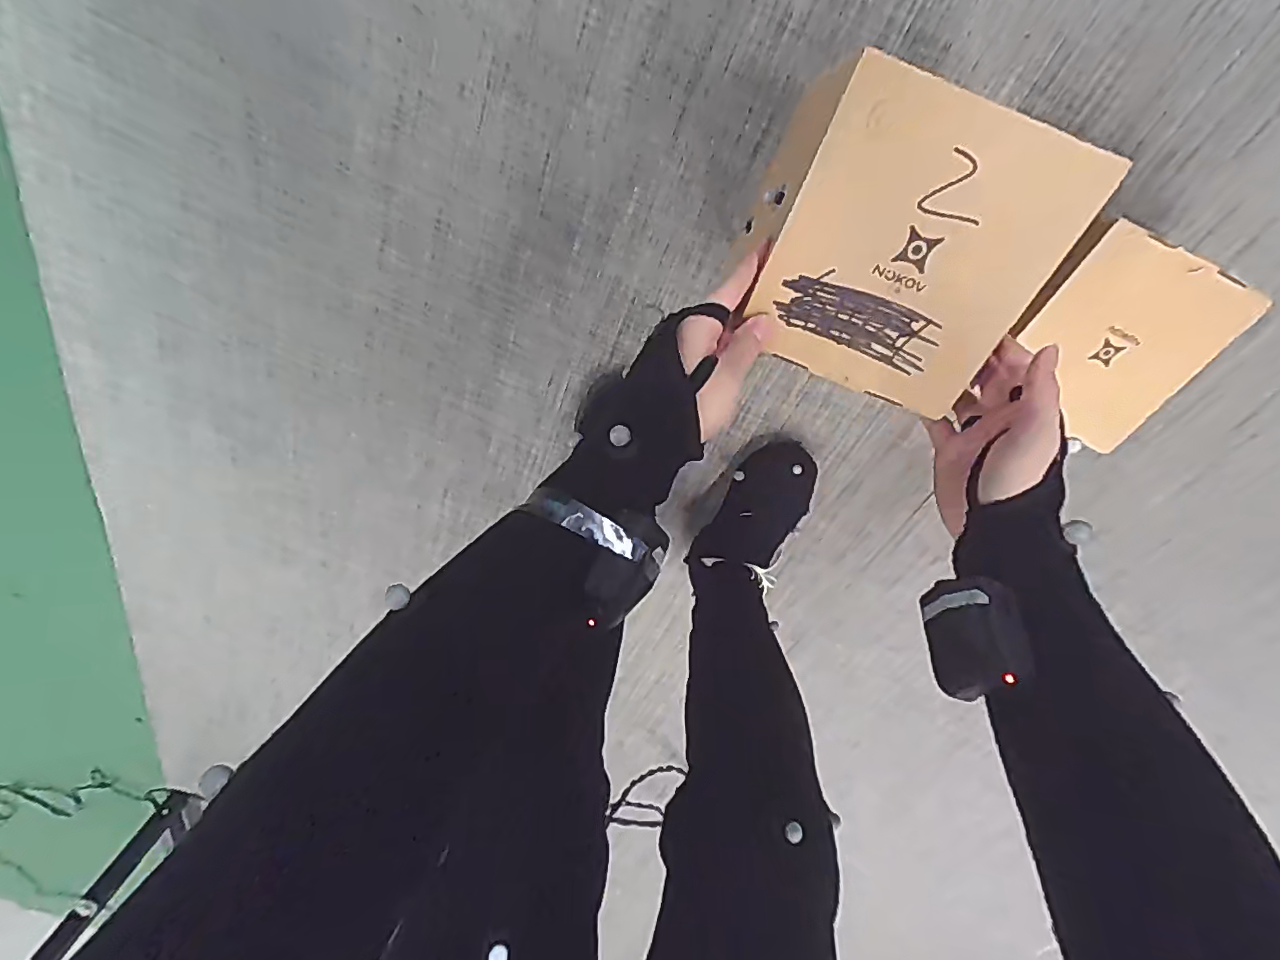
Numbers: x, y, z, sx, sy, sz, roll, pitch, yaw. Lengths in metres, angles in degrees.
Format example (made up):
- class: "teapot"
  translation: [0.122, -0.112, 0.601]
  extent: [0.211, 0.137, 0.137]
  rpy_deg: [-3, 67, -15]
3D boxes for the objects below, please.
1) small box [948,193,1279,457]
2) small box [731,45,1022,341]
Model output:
- class: "small box"
  translation: [0.446, -0.161, 0.546]
  extent: [0.168, 0.176, 0.179]
  rpy_deg: [25, 124, -5]
- class: "small box"
  translation: [0.204, -0.269, 0.520]
  extent: [0.168, 0.176, 0.179]
  rpy_deg: [25, 124, -6]
